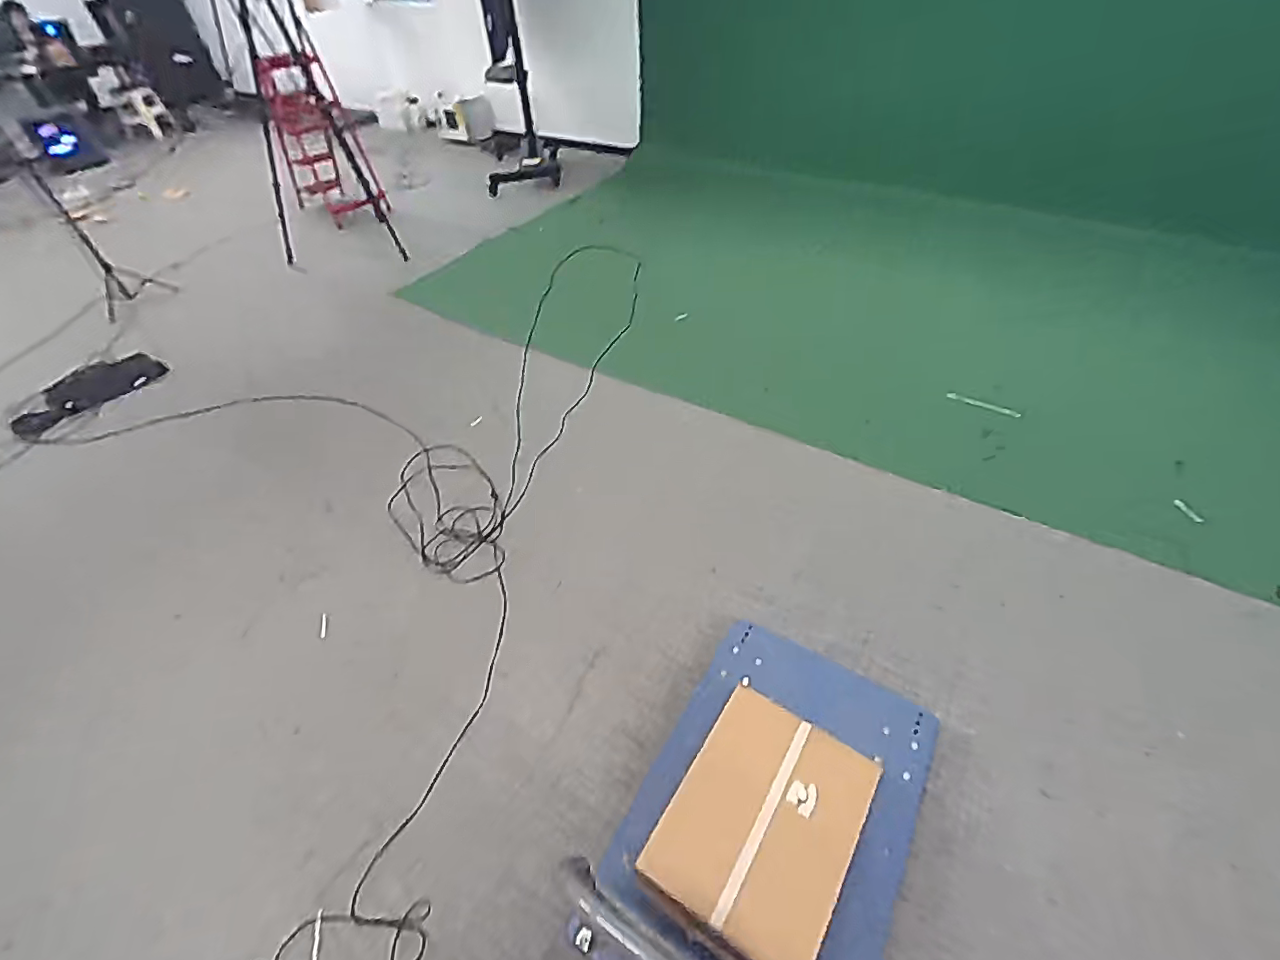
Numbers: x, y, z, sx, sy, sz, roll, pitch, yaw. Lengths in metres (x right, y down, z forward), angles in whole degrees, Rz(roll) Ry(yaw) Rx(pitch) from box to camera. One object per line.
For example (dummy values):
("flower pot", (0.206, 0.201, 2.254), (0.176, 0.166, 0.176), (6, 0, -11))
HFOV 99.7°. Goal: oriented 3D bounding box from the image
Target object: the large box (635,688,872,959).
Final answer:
("large box", (0.226, 0.734, 1.112), (0.320, 0.320, 0.408), (26, 52, 24))
